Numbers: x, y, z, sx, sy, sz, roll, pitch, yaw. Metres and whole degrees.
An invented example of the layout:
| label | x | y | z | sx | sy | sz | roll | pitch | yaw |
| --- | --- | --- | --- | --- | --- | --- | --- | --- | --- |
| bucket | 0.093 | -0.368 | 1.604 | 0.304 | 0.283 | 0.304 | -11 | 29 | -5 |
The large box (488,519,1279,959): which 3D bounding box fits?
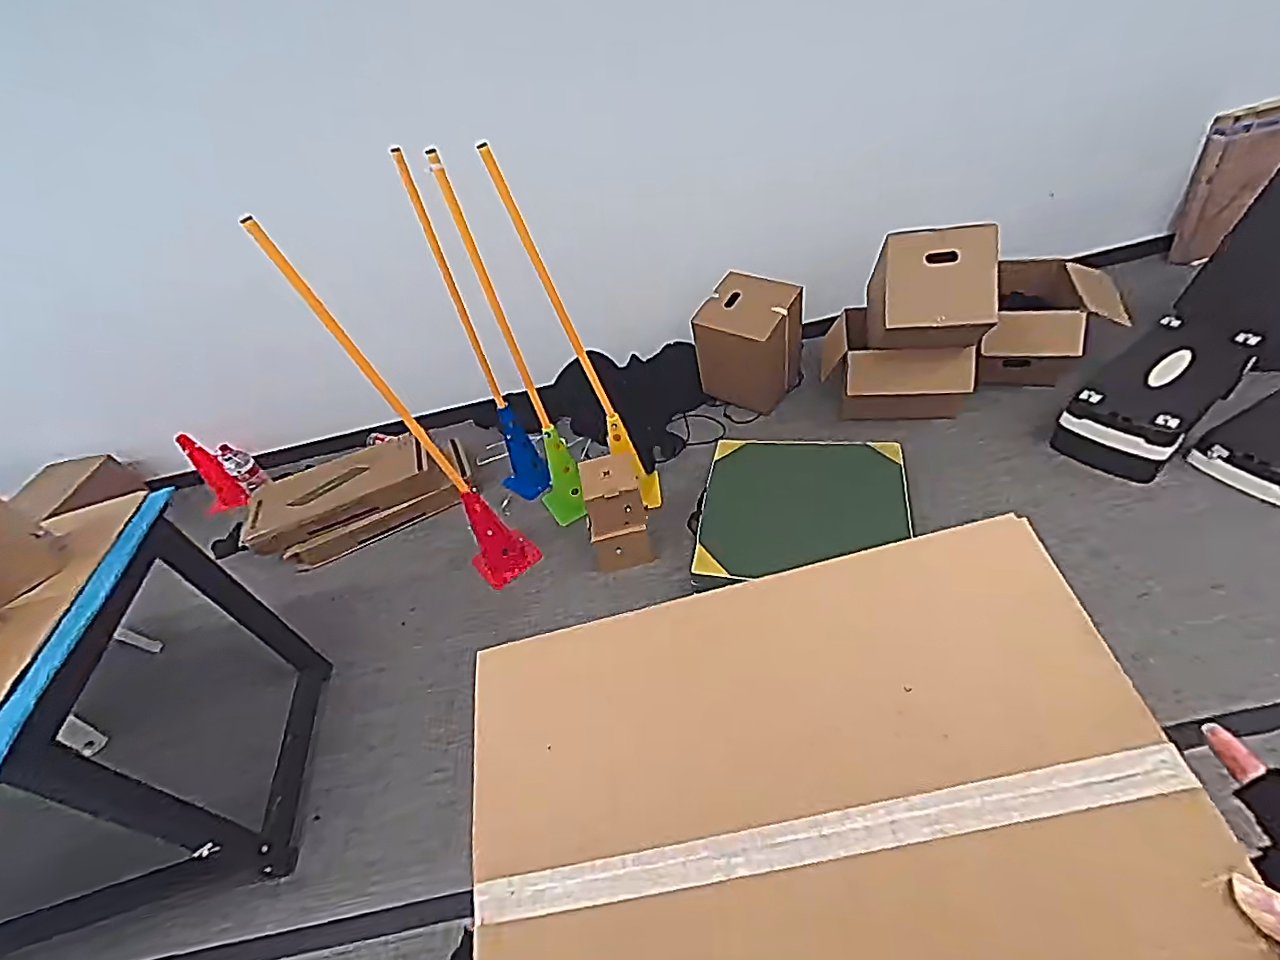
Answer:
| label | x | y | z | sx | sy | sz | roll | pitch | yaw |
| --- | --- | --- | --- | --- | --- | --- | --- | --- | --- |
| large box | 0.135 | 0.281 | 0.441 | 0.408 | 0.320 | 0.320 | -17 | 55 | 8 |
